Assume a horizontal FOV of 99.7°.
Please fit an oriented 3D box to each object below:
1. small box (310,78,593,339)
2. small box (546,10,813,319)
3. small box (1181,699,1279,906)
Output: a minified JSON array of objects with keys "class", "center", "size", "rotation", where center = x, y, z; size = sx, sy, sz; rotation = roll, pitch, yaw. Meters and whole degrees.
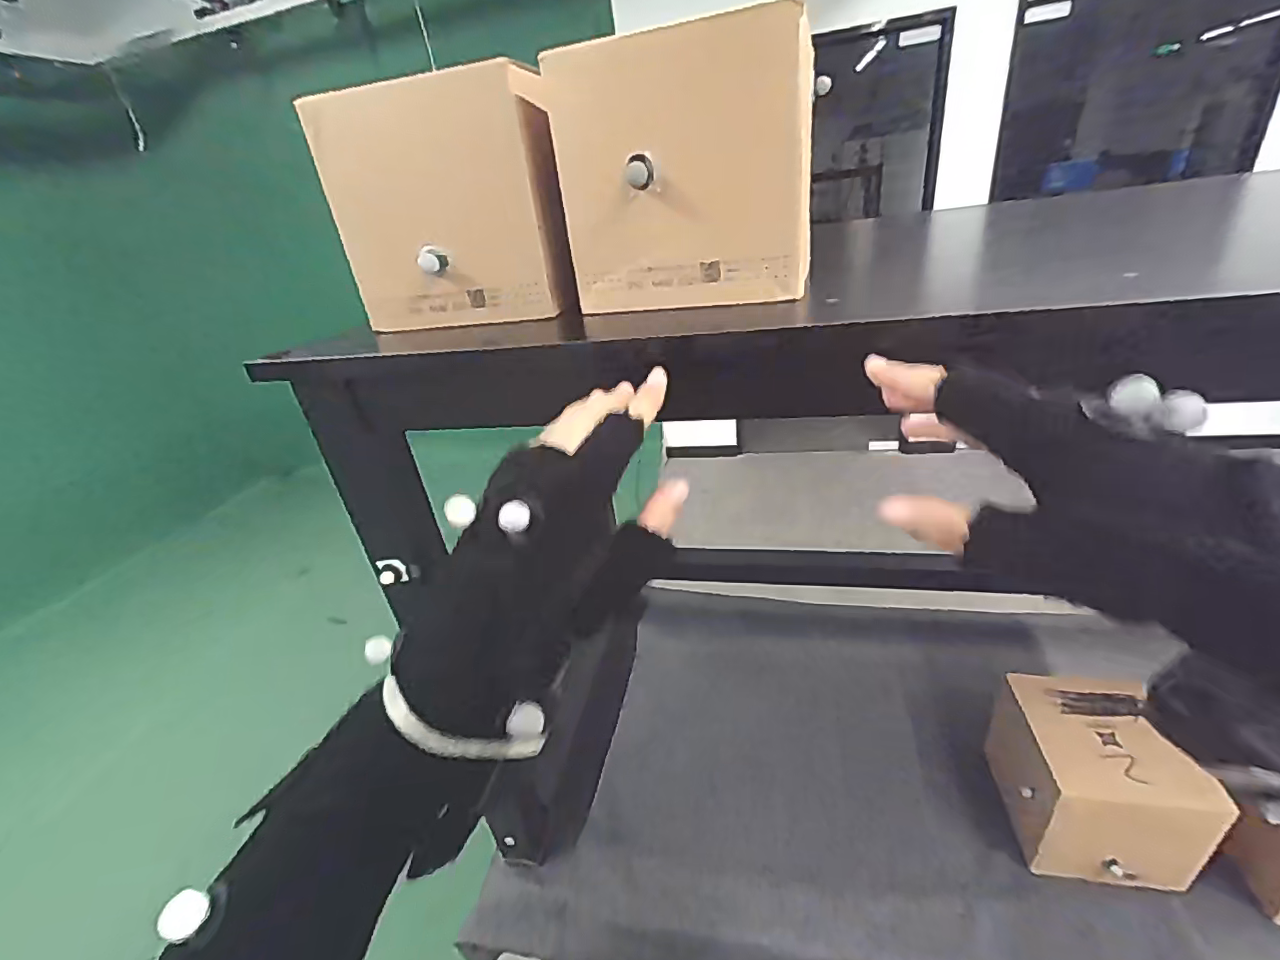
[{"class":"small box","center":[-0.135,-0.230,0.479],"size":[0.168,0.176,0.179],"rotation":[-1,30,13]},{"class":"small box","center":[0.050,-0.229,0.431],"size":[0.168,0.176,0.179],"rotation":[2,29,18]},{"class":"small box","center":[0.799,0.386,0.626],"size":[0.168,0.176,0.179],"rotation":[-1,28,13]}]
